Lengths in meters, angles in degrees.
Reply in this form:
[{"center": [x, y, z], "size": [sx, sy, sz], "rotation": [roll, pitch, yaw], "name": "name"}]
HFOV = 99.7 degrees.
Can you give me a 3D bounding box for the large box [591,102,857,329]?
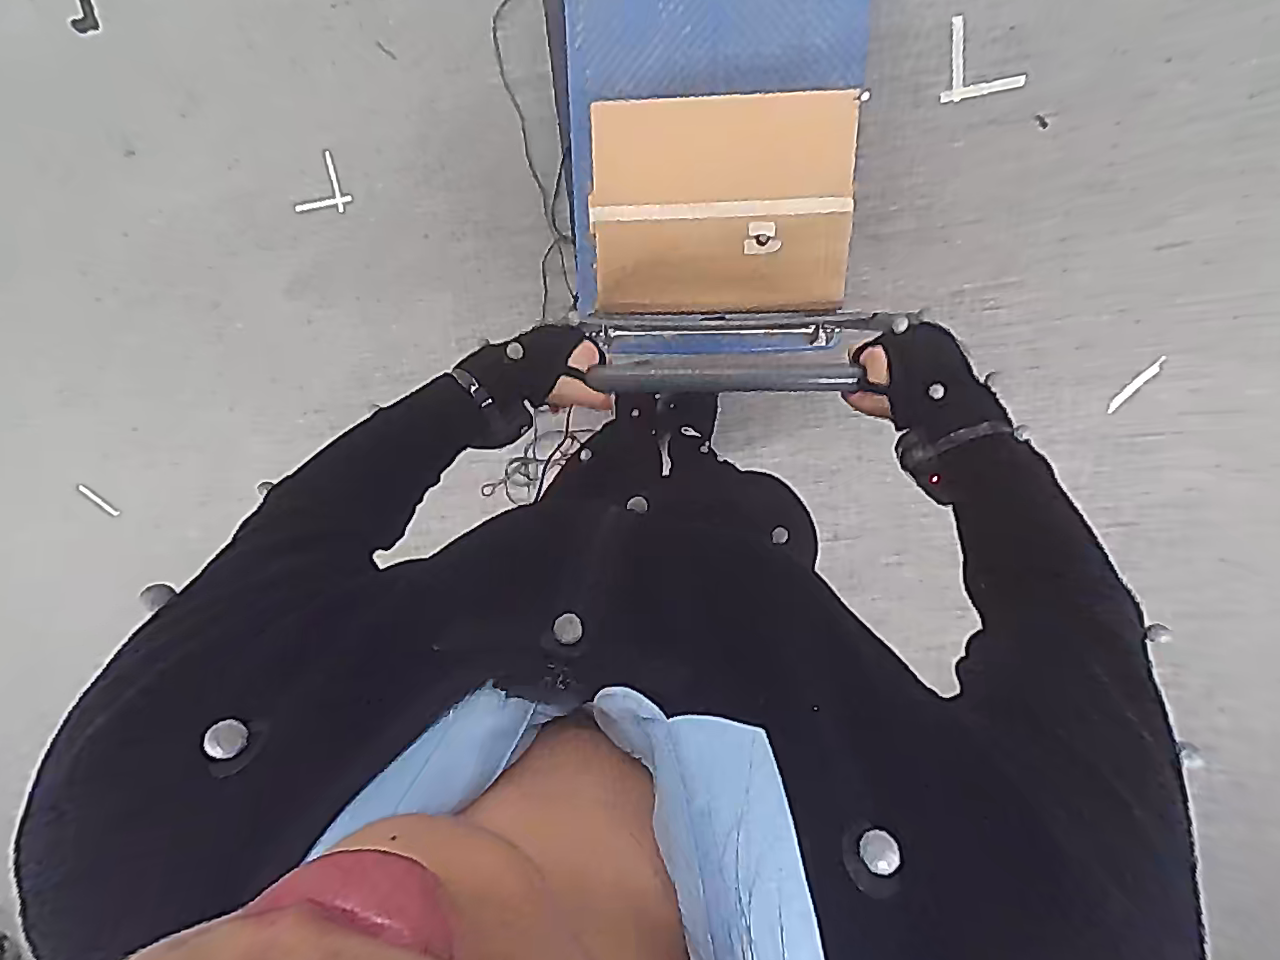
[{"center": [0.135, -0.446, 0.991], "size": [0.408, 0.320, 0.320], "rotation": [0, 107, 4], "name": "large box"}]
